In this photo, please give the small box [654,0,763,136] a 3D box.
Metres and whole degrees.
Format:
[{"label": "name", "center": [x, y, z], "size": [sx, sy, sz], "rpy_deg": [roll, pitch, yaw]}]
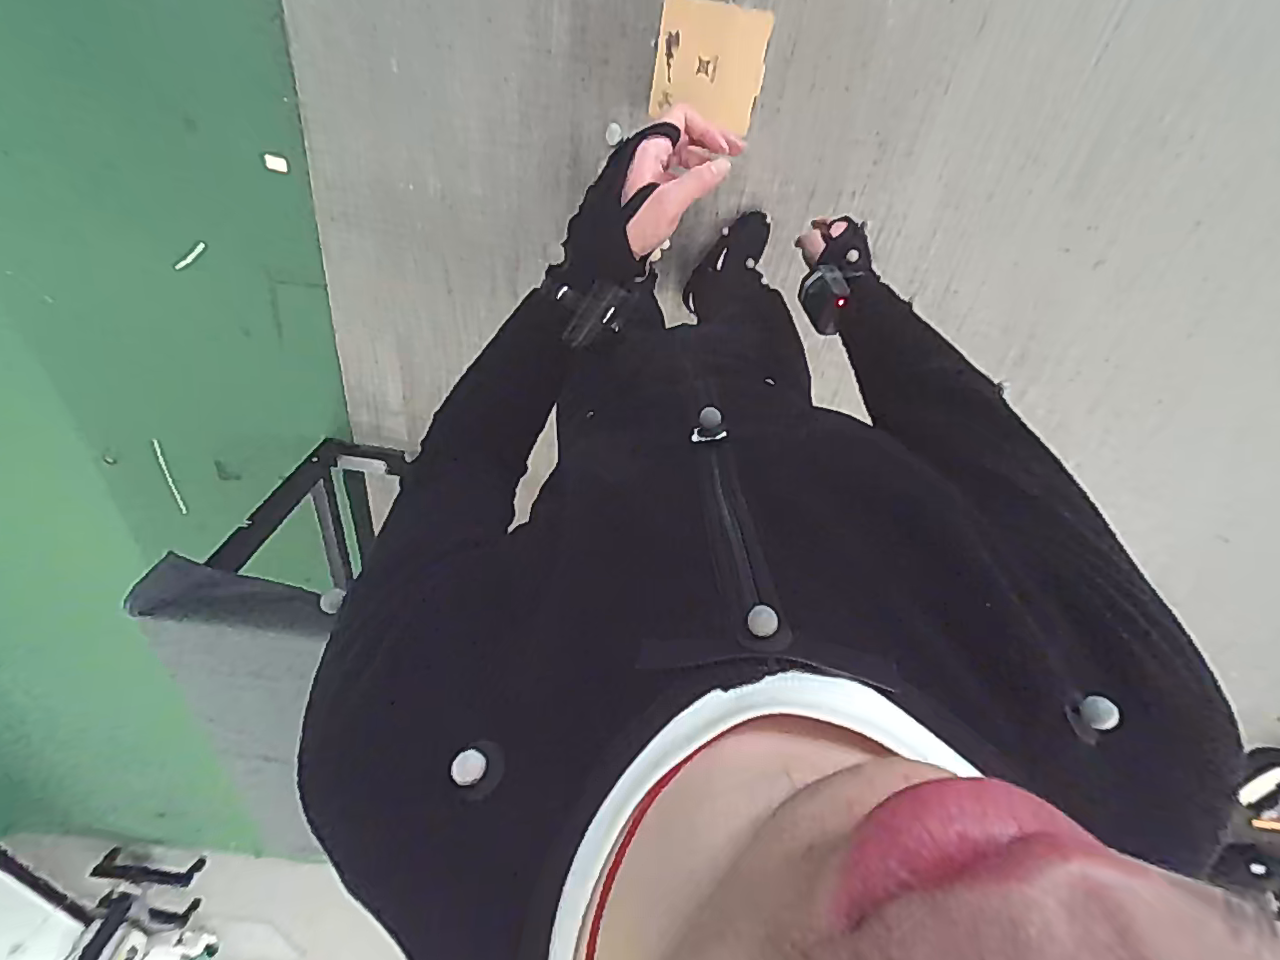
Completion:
[{"label": "small box", "center": [0.126, -0.801, 1.062], "size": [0.168, 0.176, 0.179], "rpy_deg": [12, 125, -3]}]
